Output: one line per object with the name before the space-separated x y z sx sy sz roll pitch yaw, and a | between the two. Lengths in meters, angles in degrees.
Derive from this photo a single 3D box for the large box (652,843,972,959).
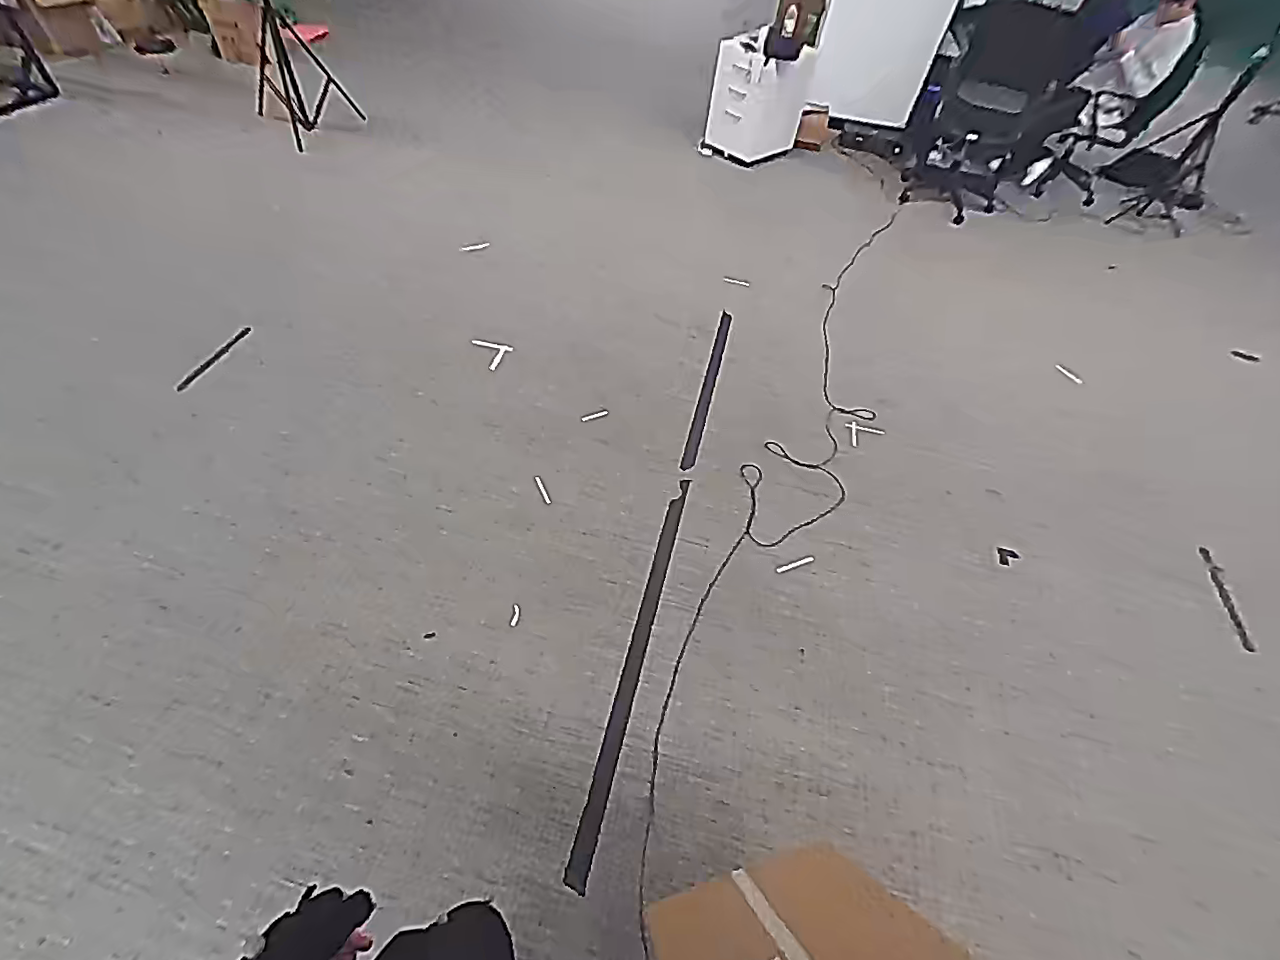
large box | 0.223 0.709 0.630 0.320 0.408 0.320 -15 76 -9
